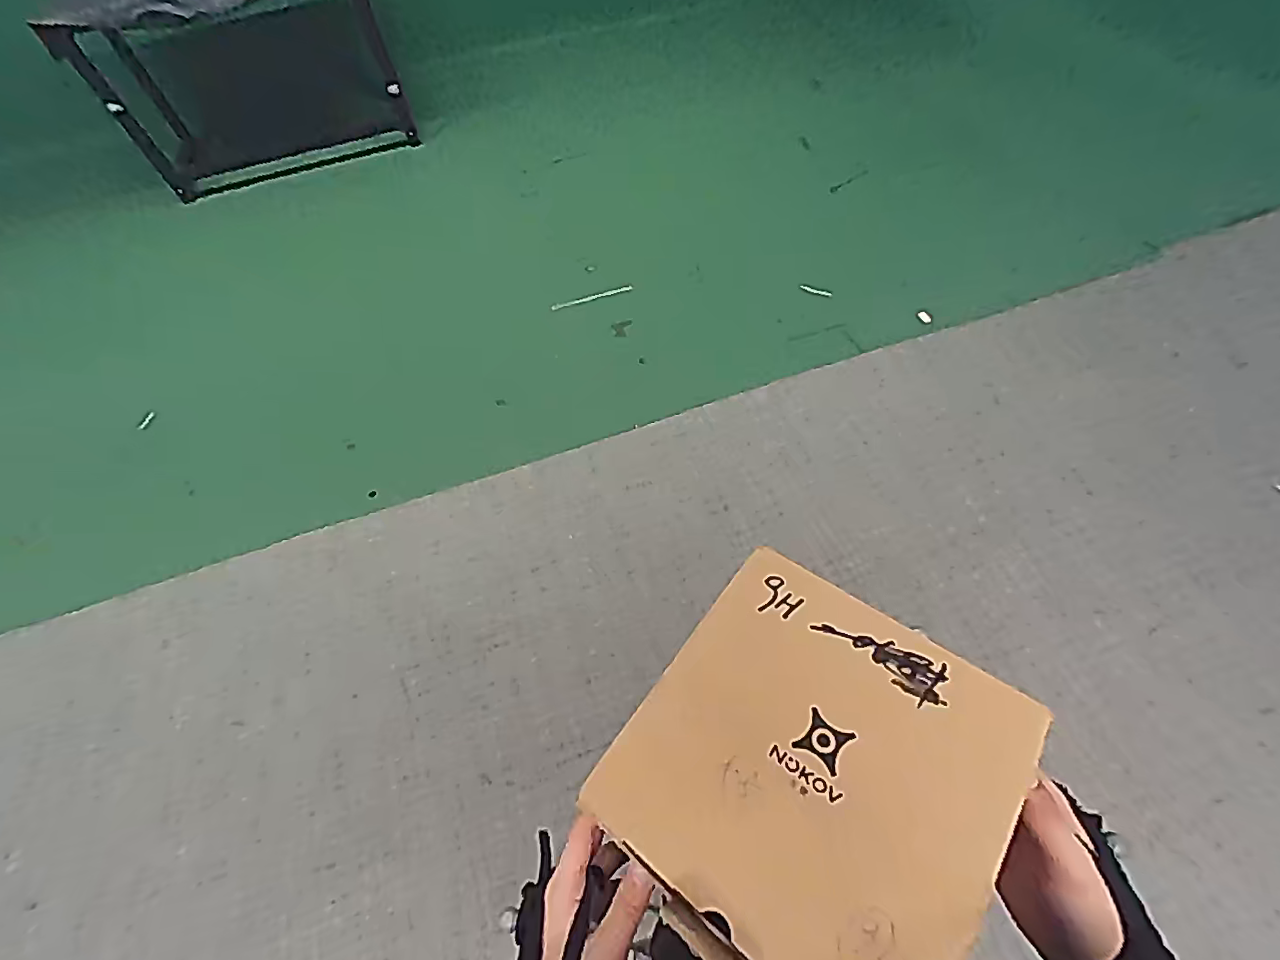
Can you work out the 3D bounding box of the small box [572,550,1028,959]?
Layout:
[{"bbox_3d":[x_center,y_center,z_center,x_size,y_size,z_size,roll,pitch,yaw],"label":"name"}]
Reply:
[{"bbox_3d":[0.090,0.184,0.335,0.168,0.176,0.179,30,64,26],"label":"small box"}]
